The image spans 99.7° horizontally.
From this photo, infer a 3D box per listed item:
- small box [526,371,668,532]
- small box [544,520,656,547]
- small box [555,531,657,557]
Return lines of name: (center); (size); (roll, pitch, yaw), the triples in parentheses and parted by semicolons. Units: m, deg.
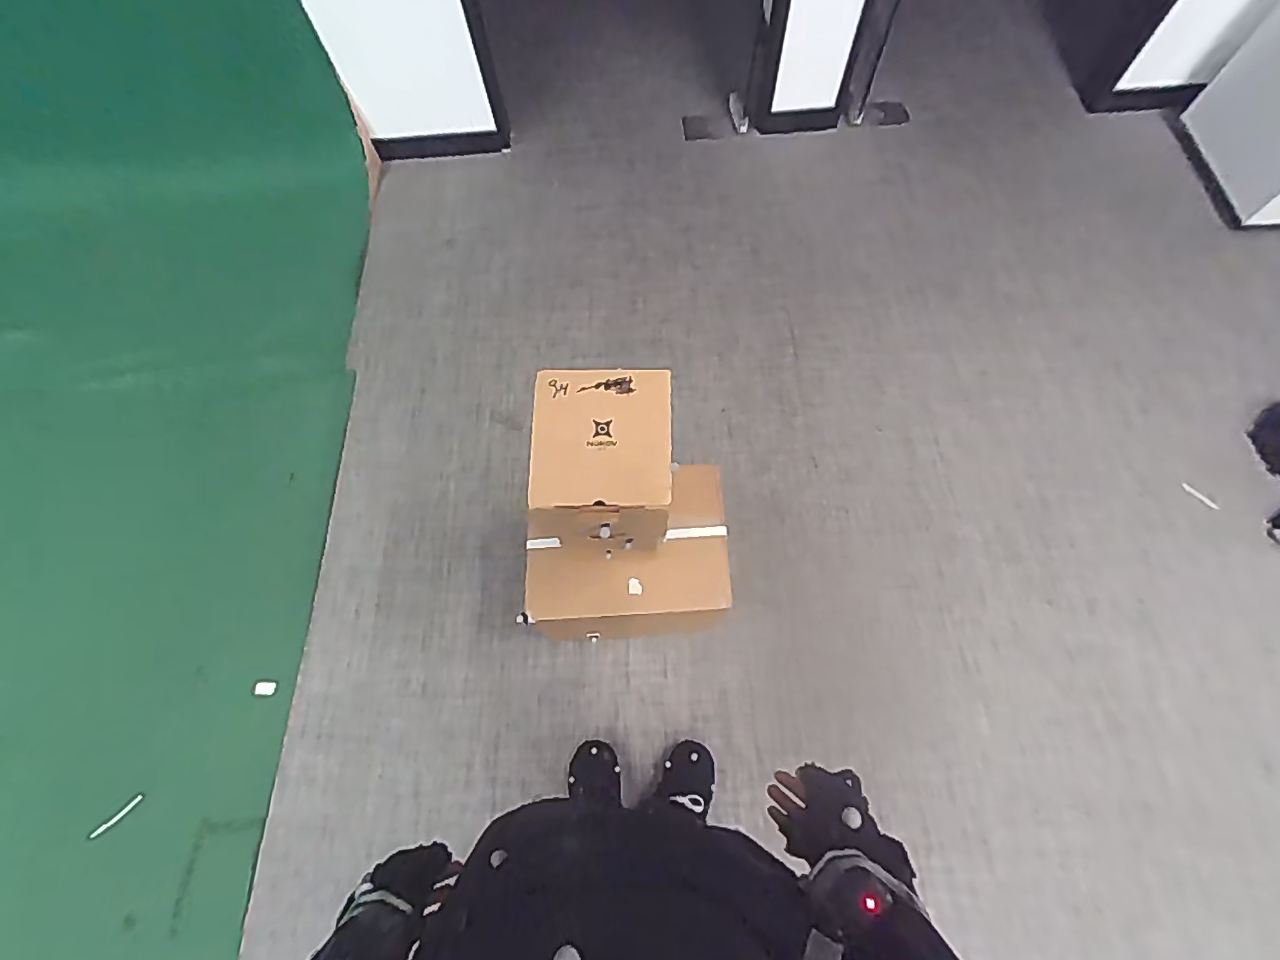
small box: (-0.047, -0.028, 0.718); (0.168, 0.176, 0.179); (1, 74, 1)
small box: (-0.051, 0.008, 0.878); (0.168, 0.176, 0.179); (3, 72, 1)
small box: (-0.054, 0.050, 1.031); (0.179, 0.176, 0.168); (3, 71, 2)
